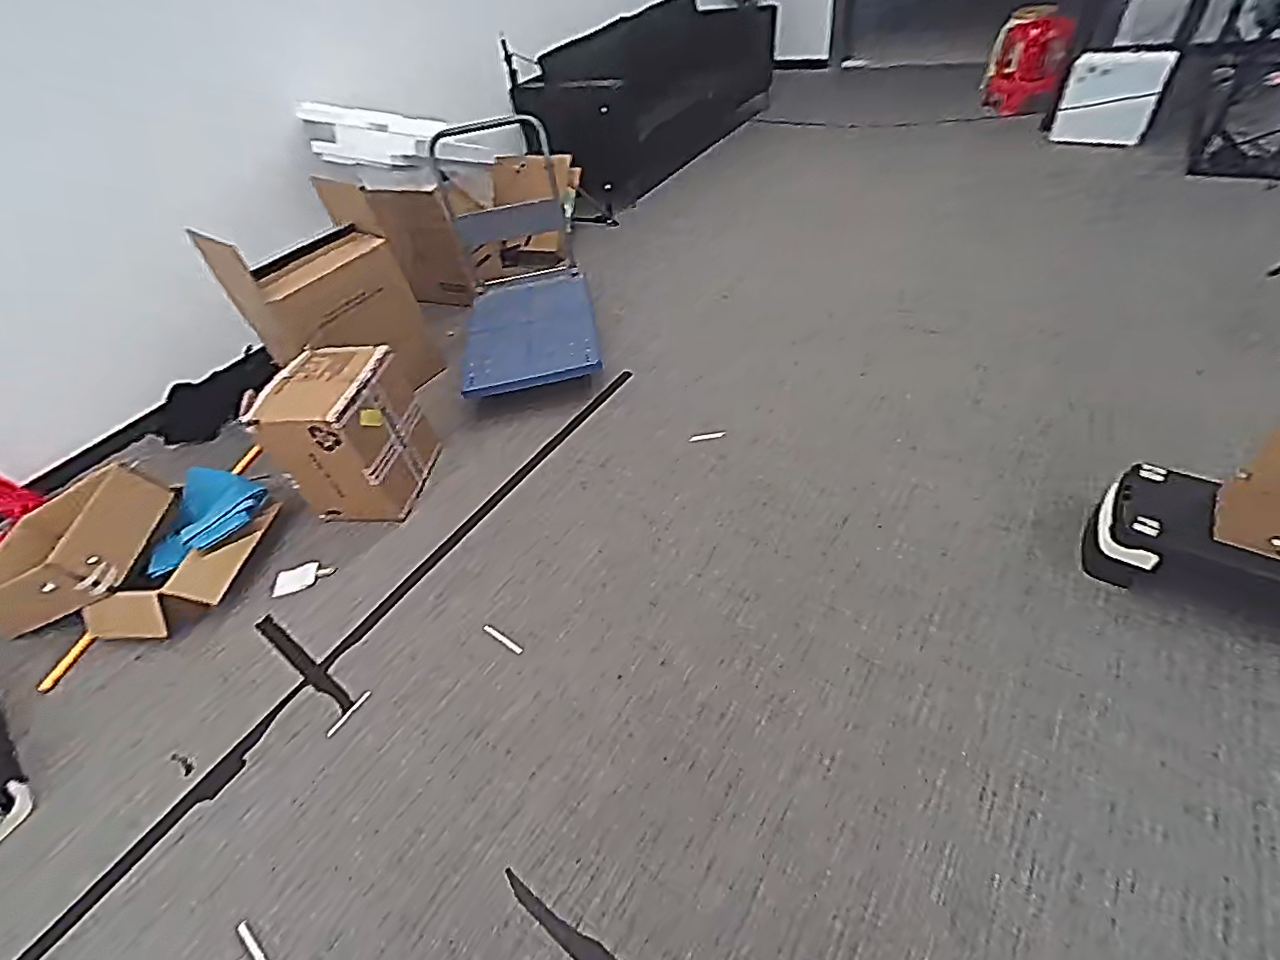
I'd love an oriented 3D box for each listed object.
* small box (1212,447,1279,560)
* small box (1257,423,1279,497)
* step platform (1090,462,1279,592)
[{"bbox_3d":[1.440,0.058,1.210,0.168,0.176,0.179,23,56,30],"label":"small box"},{"bbox_3d":[1.416,-0.058,1.095,0.168,0.176,0.179,23,55,29],"label":"small box"},{"bbox_3d":[1.543,0.192,1.303,0.684,0.204,0.286,21,54,29],"label":"step platform"}]
